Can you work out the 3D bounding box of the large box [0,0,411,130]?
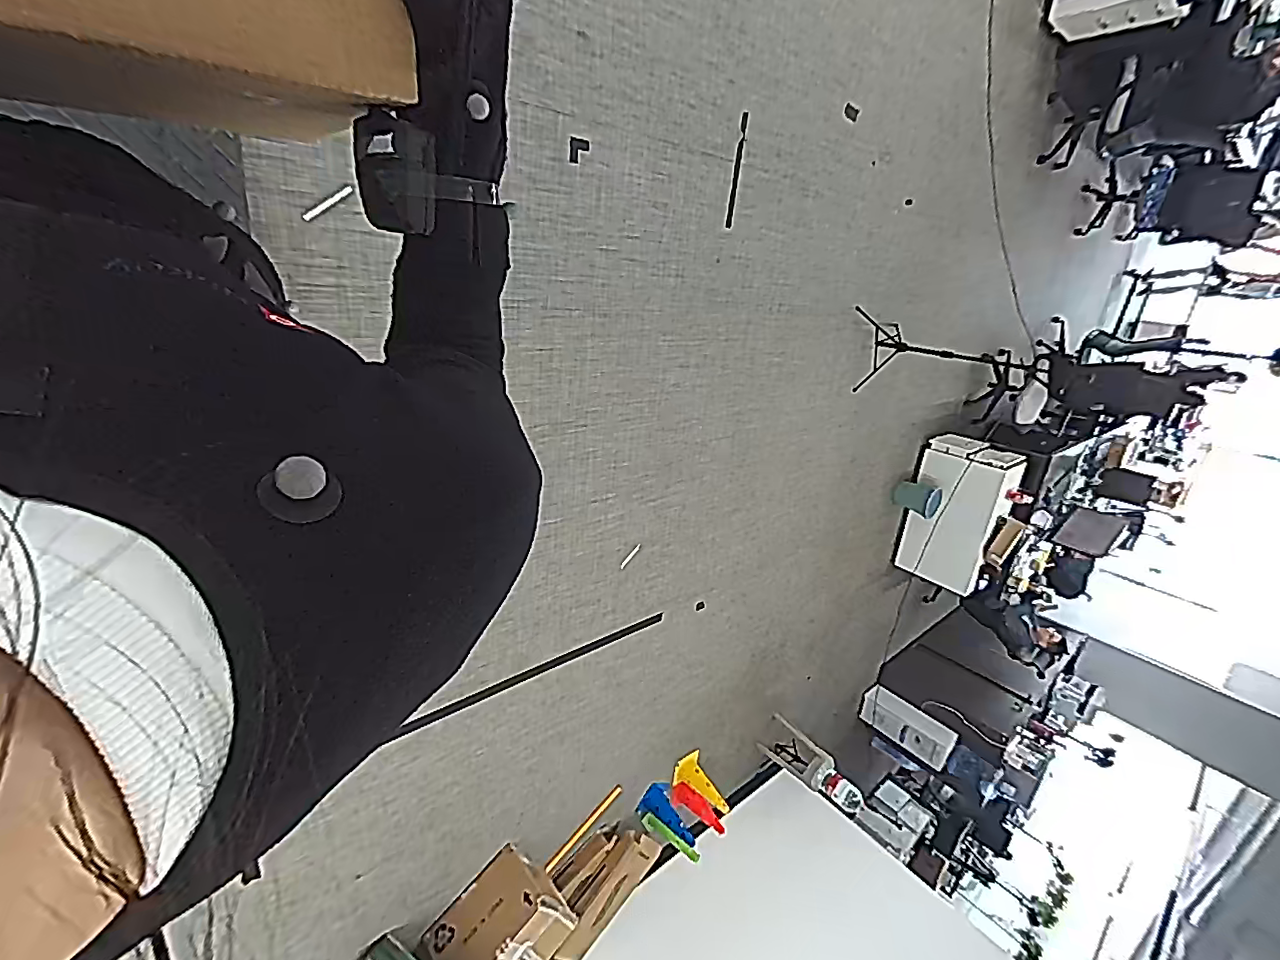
[{"bbox_3d":[-0.375,-0.379,0.246,0.408,0.320,0.320,-16,122,-36],"label":"large box"}]
